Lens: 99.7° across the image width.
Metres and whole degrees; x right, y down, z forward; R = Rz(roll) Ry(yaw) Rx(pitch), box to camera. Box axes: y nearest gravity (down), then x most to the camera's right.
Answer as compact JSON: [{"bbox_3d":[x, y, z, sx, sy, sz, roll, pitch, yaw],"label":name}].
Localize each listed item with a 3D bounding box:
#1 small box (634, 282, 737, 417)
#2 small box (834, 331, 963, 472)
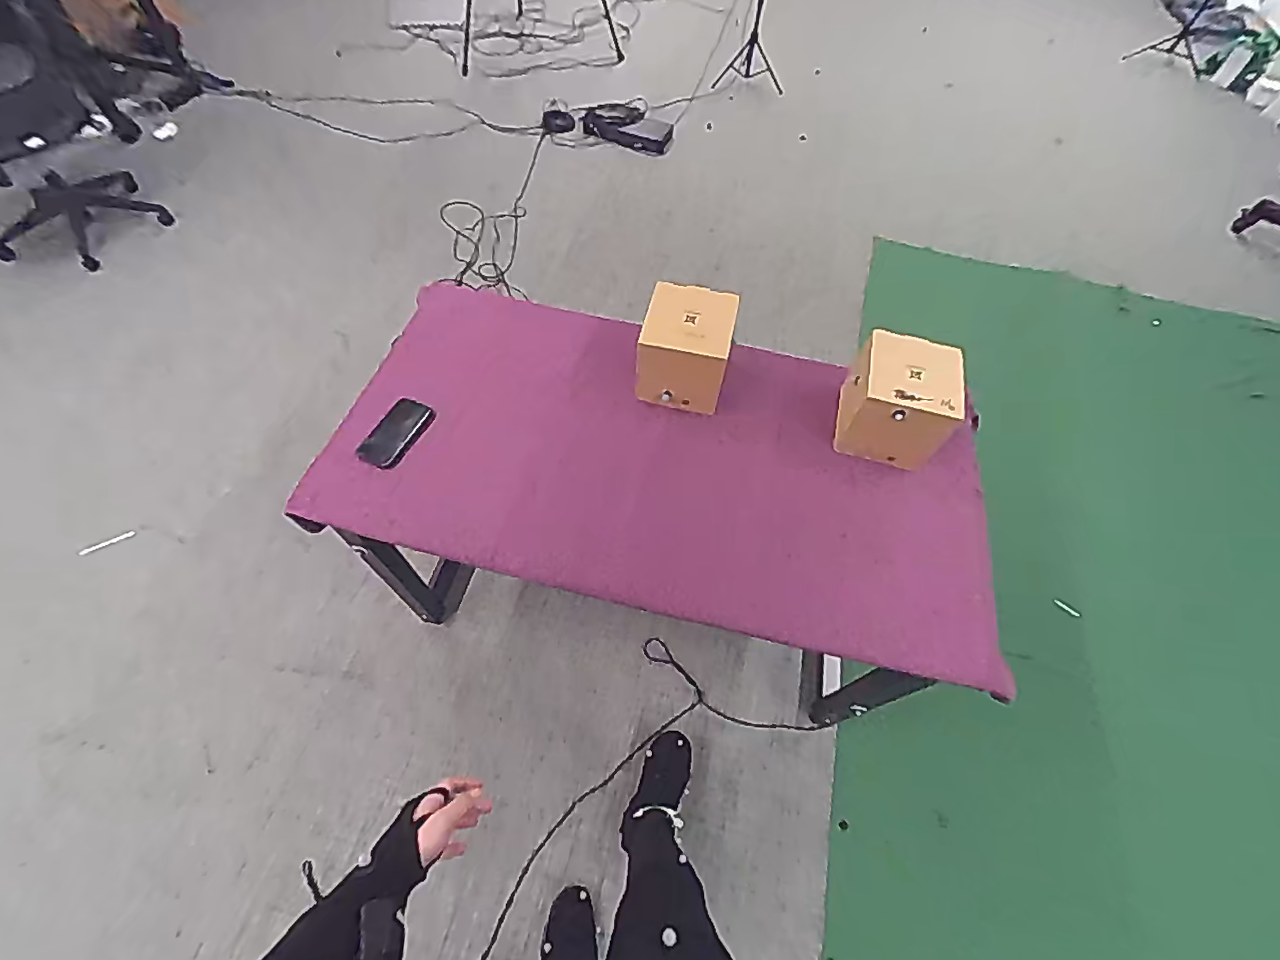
[{"bbox_3d":[0.084,-0.254,1.066,0.168,0.176,0.179,12,59,5],"label":"small box"},{"bbox_3d":[0.478,-0.145,1.018,0.168,0.176,0.179,14,58,7],"label":"small box"}]
